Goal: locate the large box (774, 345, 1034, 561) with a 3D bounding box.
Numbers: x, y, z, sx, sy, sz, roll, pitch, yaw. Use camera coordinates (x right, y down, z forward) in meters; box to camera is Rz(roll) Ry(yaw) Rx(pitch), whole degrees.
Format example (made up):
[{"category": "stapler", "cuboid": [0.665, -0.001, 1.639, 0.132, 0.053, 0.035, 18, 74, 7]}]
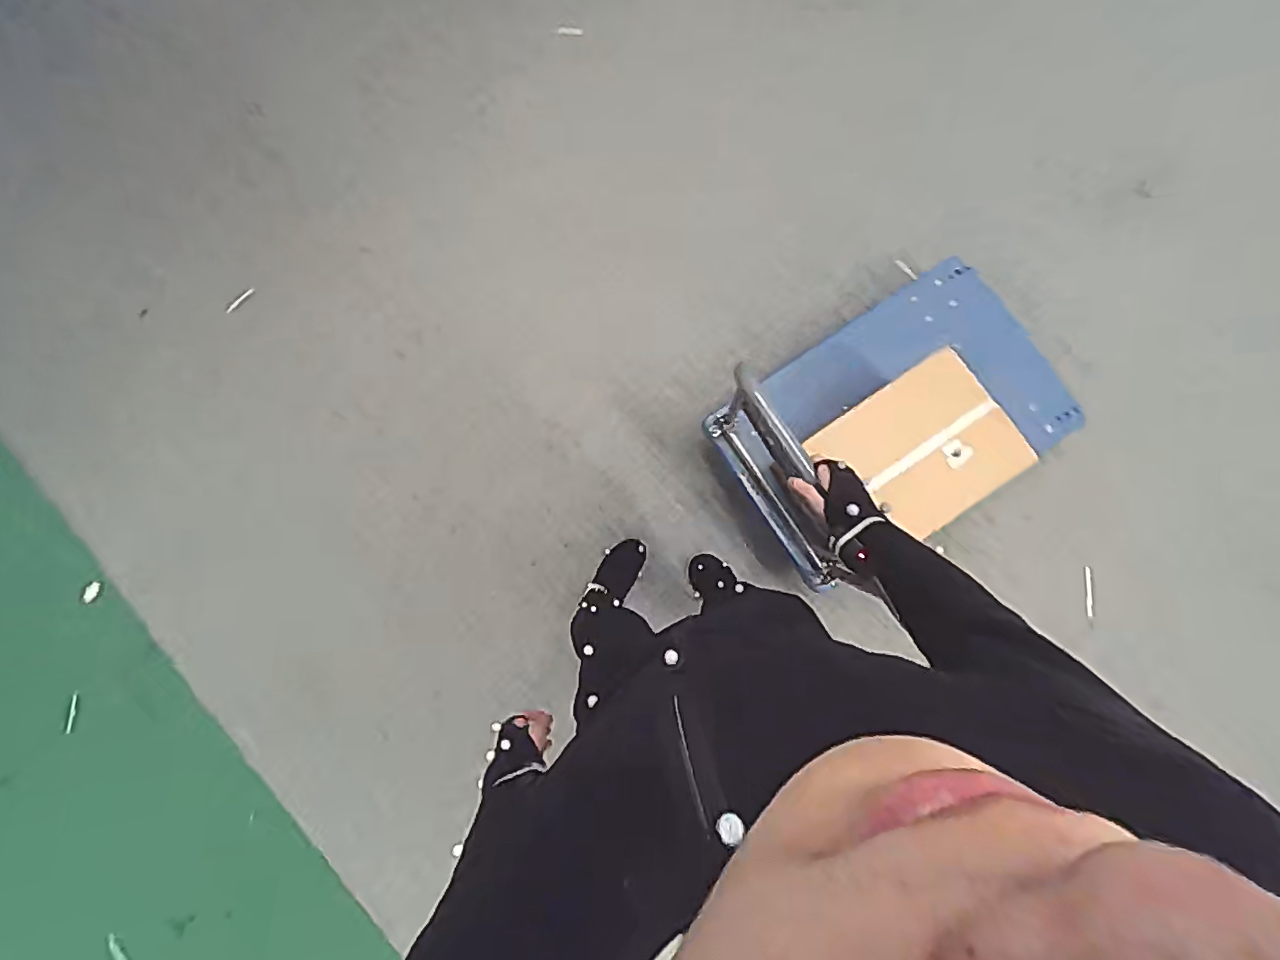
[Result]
[{"category": "large box", "cuboid": [0.598, -0.044, 1.306, 0.408, 0.320, 0.320, -34, 85, -1]}]
